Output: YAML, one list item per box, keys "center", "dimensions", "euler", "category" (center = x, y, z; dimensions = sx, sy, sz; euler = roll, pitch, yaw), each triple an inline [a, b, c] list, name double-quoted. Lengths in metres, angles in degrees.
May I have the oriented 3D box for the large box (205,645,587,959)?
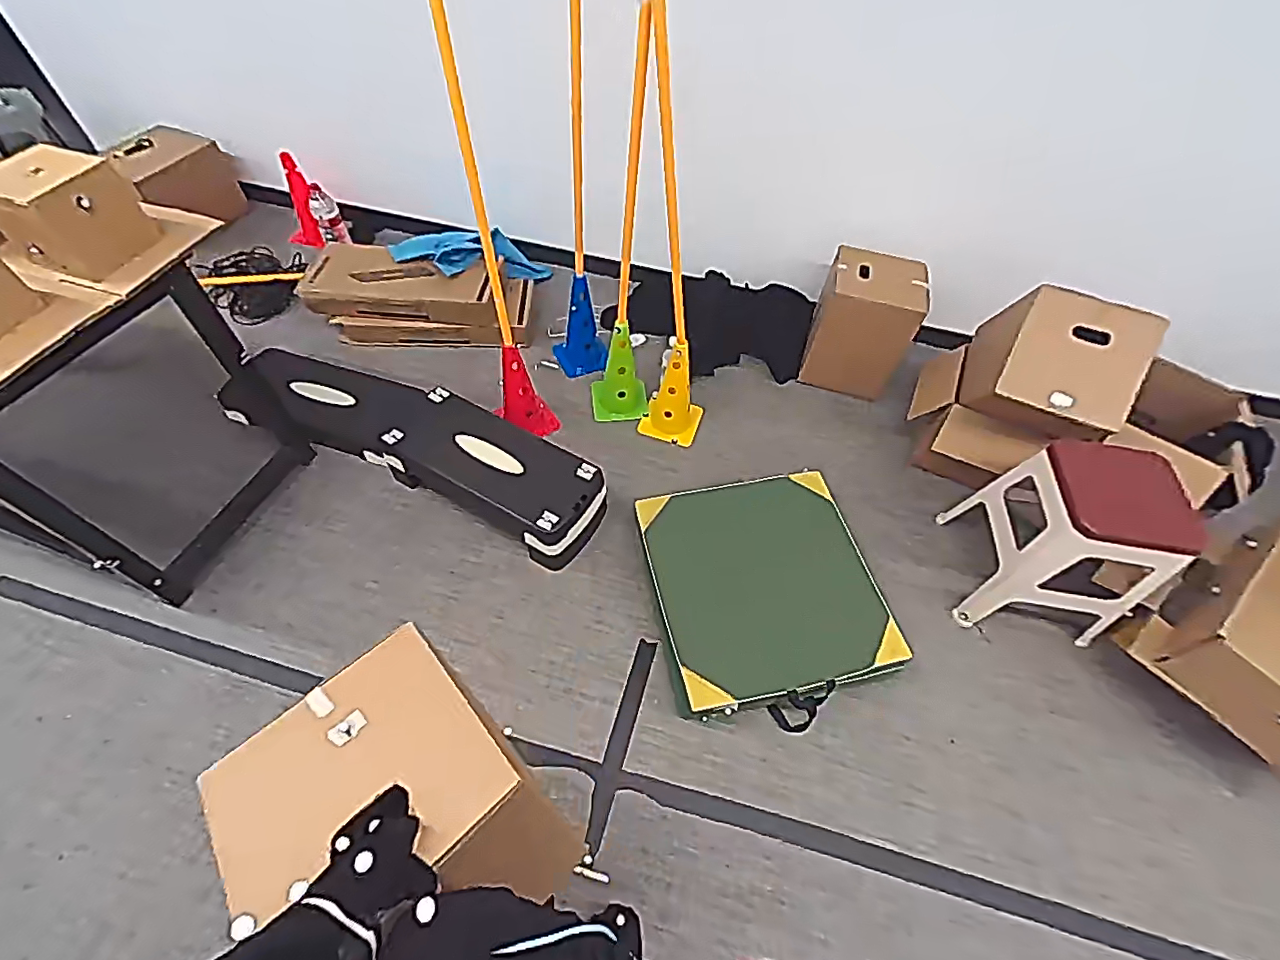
- center: [-0.330, 0.523, 0.815]
  dimensions: [0.320, 0.408, 0.320]
  euler: [-37, 53, -21]
  category: "large box"
